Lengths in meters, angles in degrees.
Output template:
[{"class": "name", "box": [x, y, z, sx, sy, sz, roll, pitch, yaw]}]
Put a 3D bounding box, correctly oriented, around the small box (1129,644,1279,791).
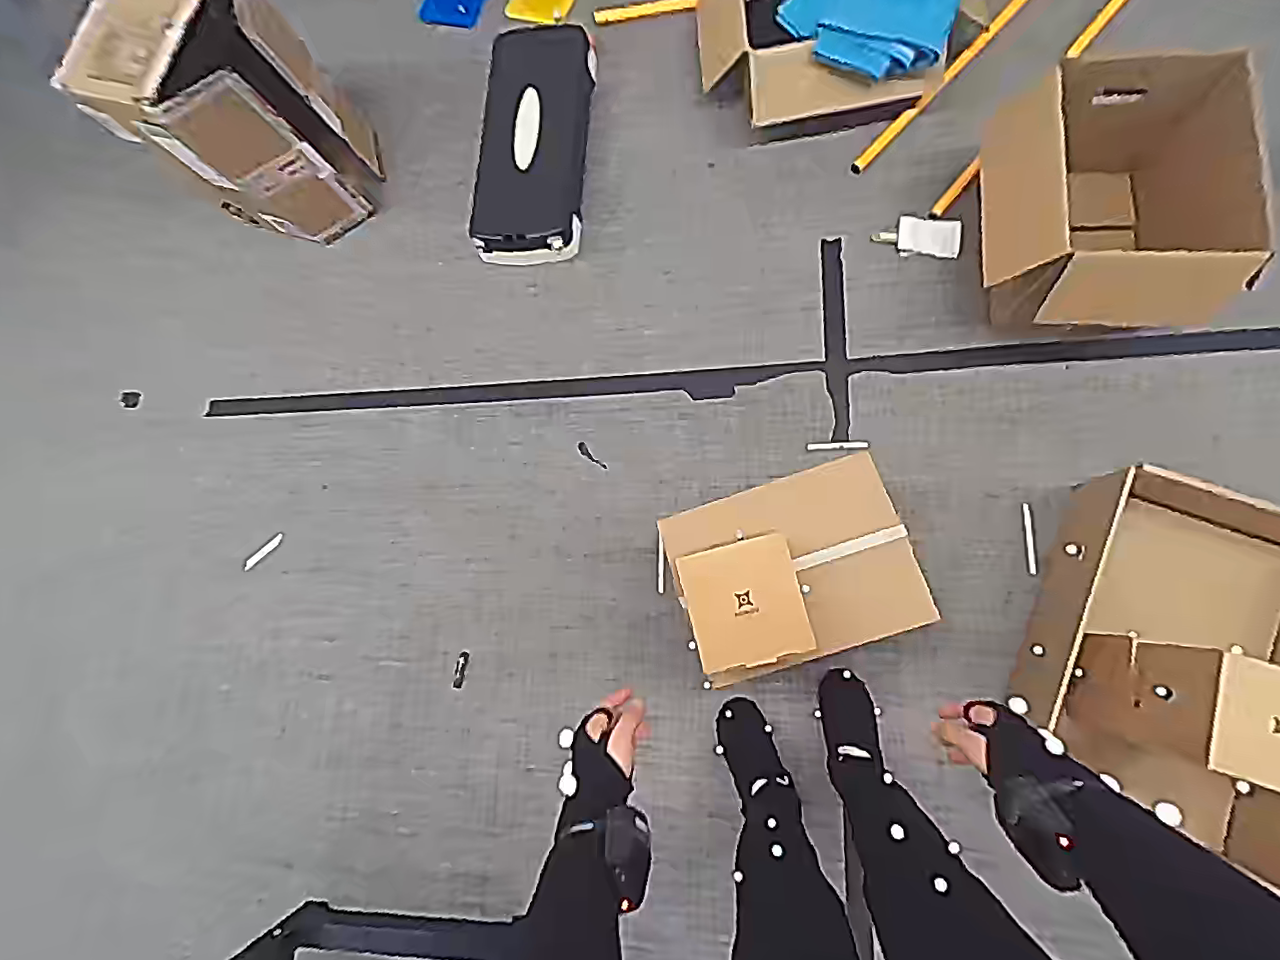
[{"class": "small box", "box": [0.889, 0.353, 0.805, 0.179, 0.176, 0.168, 17, 81, 11]}]
